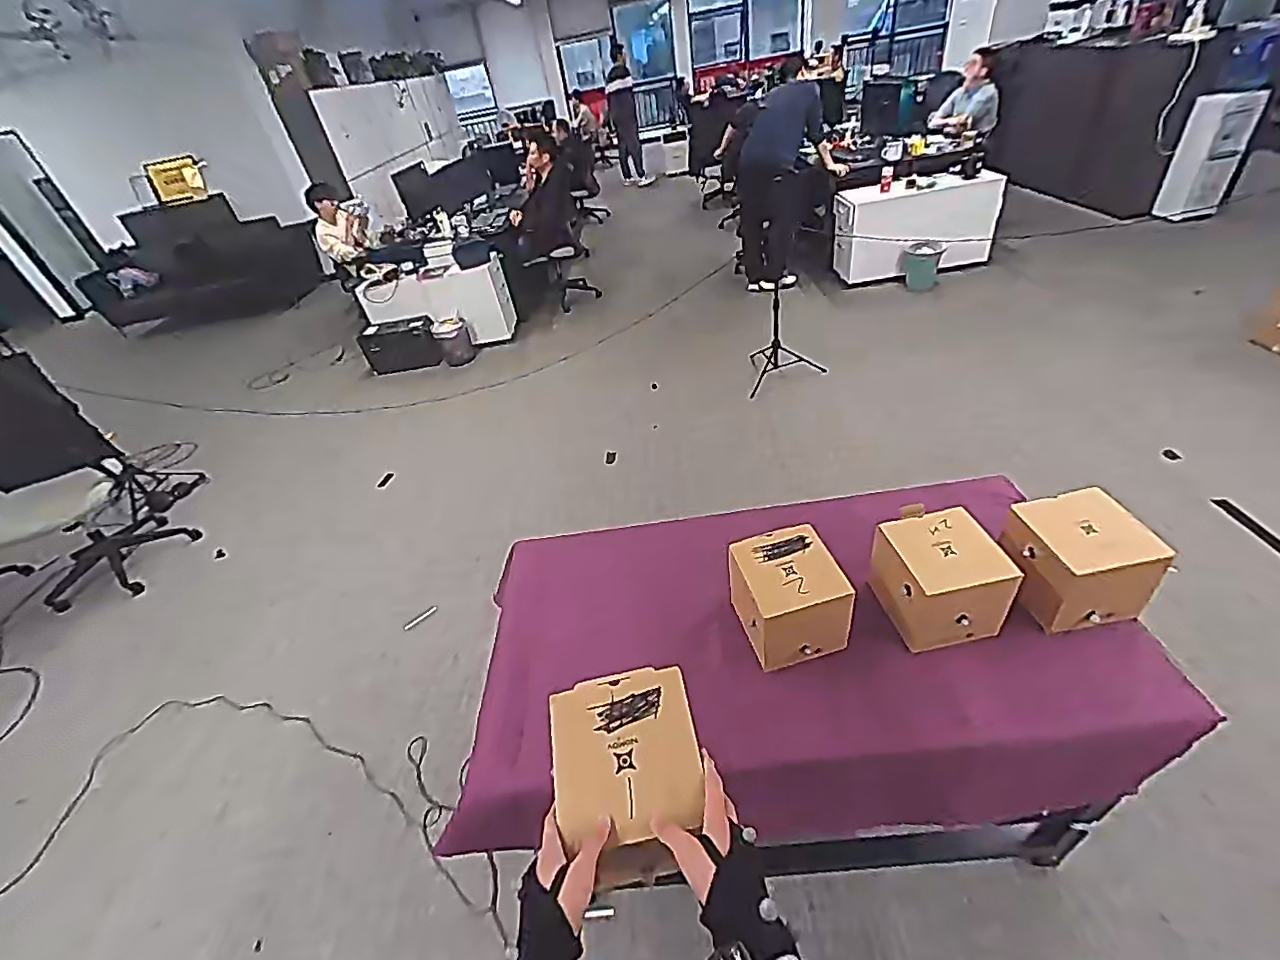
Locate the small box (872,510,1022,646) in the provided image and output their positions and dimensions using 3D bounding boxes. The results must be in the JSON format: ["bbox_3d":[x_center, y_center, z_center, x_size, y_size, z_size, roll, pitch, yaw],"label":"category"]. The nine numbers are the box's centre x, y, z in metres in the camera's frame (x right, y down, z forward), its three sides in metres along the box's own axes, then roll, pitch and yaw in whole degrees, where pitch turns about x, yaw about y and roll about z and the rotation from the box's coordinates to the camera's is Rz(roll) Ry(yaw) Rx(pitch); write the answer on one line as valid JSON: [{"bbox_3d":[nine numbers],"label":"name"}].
[{"bbox_3d":[0.549,0.186,0.997,0.168,0.176,0.179,-11,38,0],"label":"small box"}]

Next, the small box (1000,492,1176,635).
[{"bbox_3d":[0.786,0.151,0.981,0.168,0.176,0.179,-12,38,2],"label":"small box"}]

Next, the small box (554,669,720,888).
[{"bbox_3d":[-0.004,0.363,0.659,0.168,0.176,0.179,-12,44,-1],"label":"small box"}]
